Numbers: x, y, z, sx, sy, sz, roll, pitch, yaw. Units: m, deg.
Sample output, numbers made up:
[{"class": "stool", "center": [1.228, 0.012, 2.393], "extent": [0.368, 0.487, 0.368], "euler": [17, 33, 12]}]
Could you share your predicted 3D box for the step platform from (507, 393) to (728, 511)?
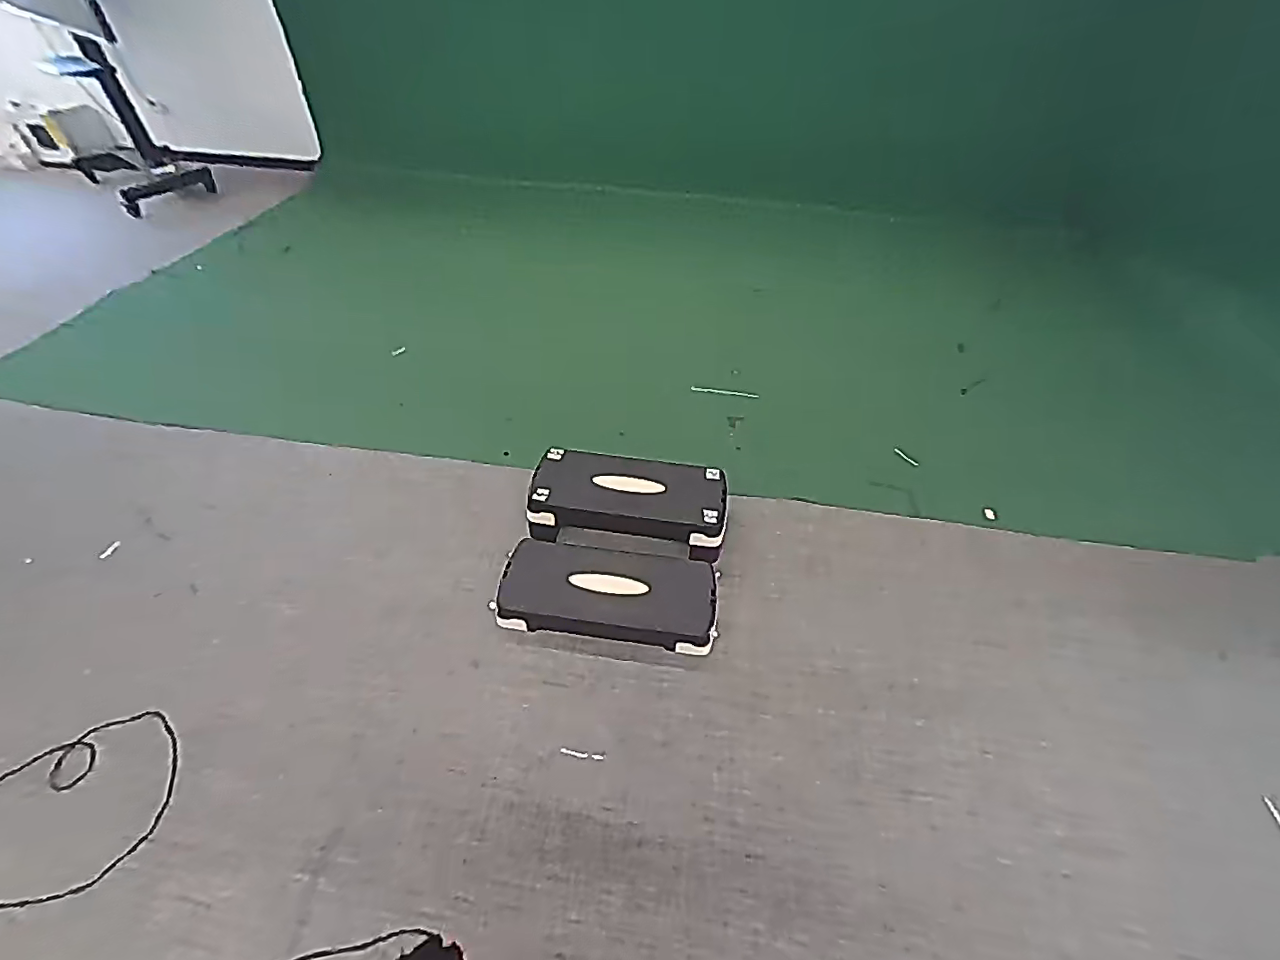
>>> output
[{"class": "step platform", "center": [-0.067, -0.091, 1.758], "extent": [0.684, 0.204, 0.286], "euler": [7, 46, 5]}]
